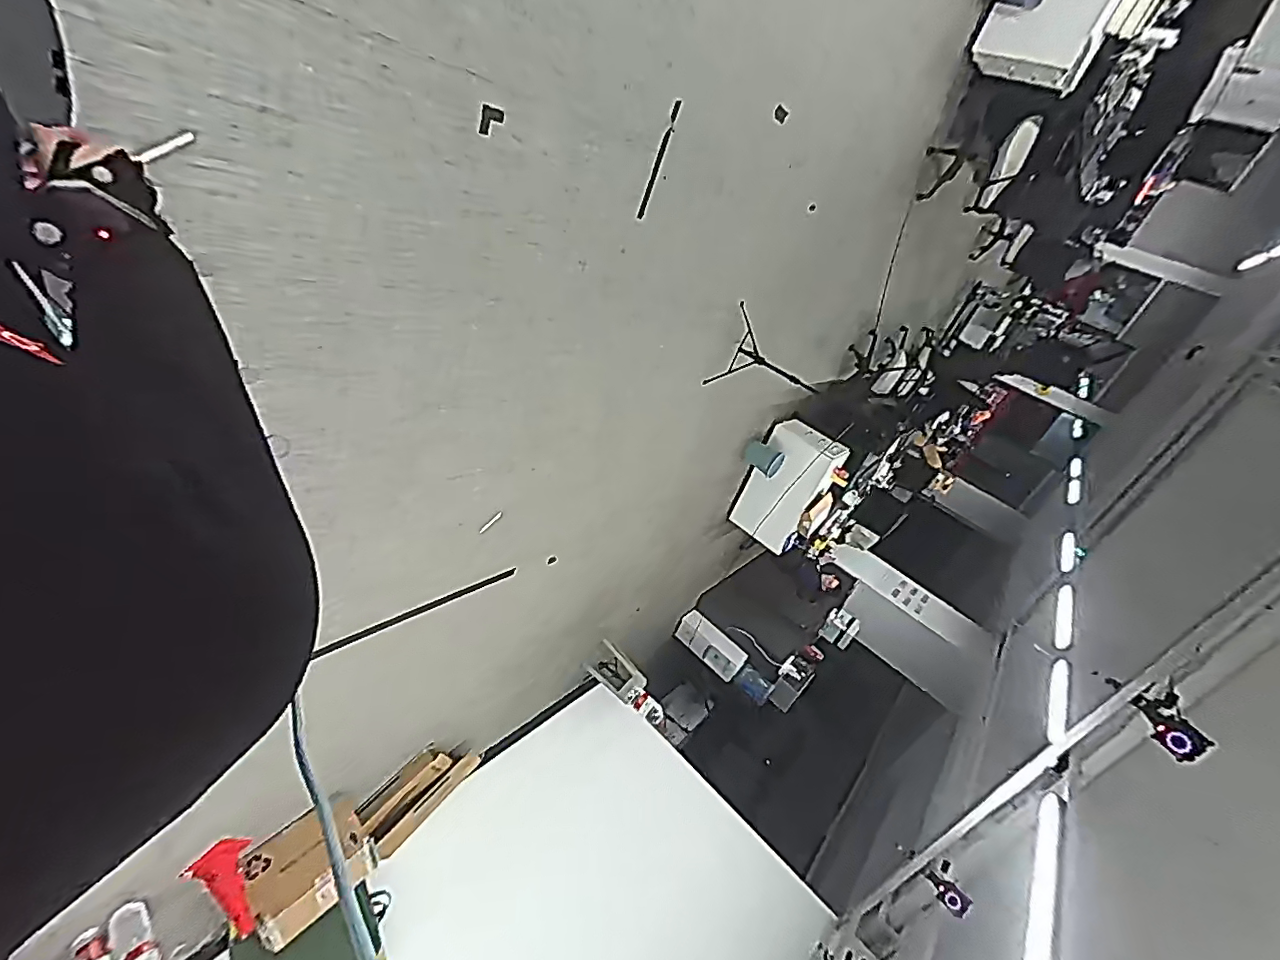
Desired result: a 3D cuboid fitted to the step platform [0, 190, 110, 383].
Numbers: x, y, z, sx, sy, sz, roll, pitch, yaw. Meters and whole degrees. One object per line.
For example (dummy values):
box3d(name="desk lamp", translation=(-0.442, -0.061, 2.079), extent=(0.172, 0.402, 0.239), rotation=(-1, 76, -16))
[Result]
box3d(name="step platform", translation=(-1.210, -0.299, 0.747), extent=(0.684, 0.204, 0.286), rotation=(-11, 131, -52))
